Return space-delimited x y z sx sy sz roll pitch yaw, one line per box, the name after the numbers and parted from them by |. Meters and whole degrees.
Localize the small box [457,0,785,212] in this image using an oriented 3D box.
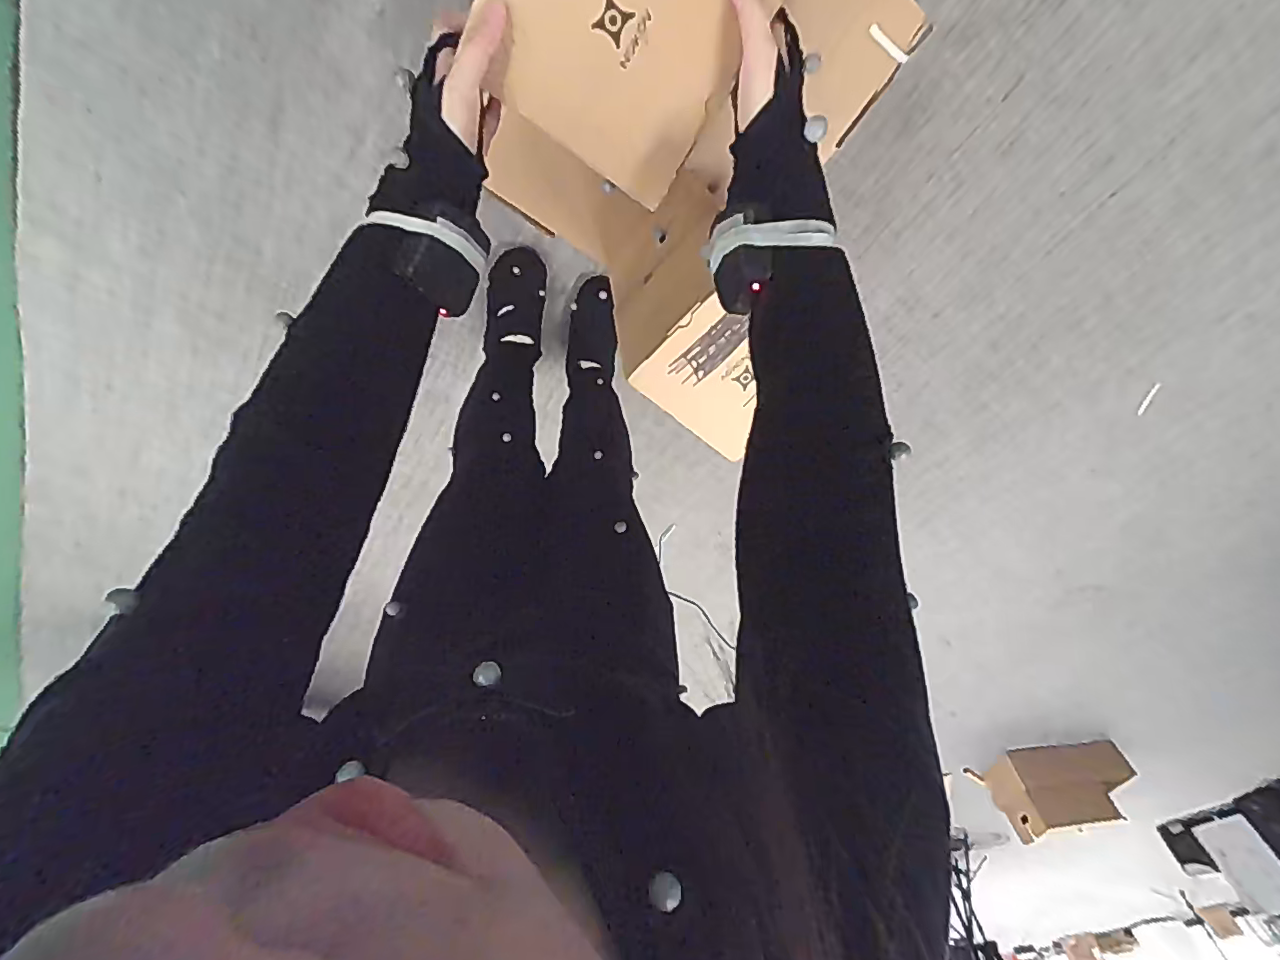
-0.022 -0.355 0.438 0.179 0.176 0.168 25 121 -24 | small box

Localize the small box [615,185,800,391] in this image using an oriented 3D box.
0.078 -0.263 0.735 0.168 0.176 0.179 29 120 -28 | small box
